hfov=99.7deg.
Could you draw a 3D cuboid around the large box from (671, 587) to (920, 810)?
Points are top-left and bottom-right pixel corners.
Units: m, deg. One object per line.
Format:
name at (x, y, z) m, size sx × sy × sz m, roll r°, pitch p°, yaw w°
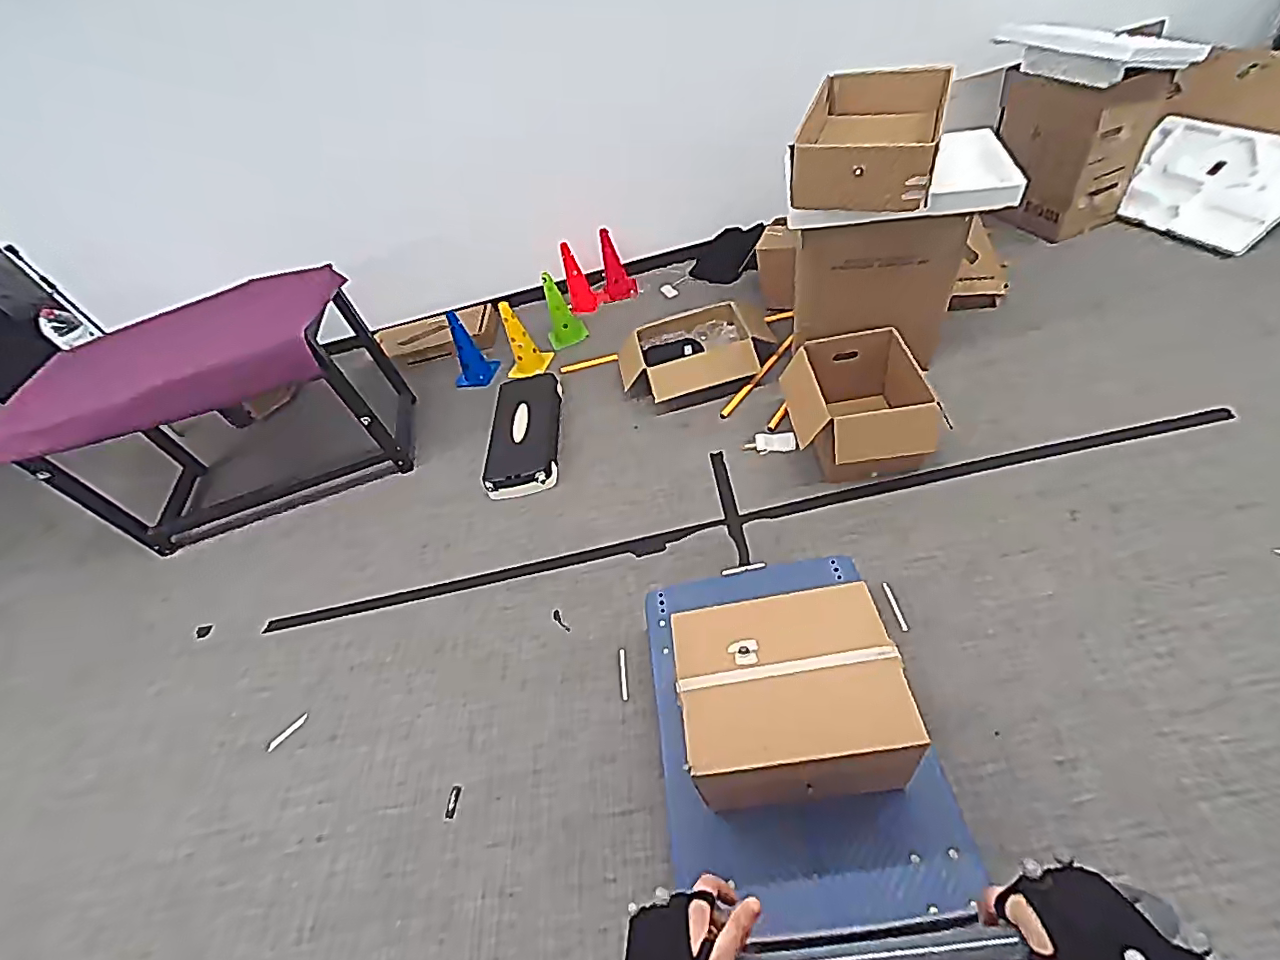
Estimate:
large box at (0.304, 0.468, 1.139) m, size 0.408 × 0.320 × 0.320 m, roll -12°, pitch 46°, yaw 7°
